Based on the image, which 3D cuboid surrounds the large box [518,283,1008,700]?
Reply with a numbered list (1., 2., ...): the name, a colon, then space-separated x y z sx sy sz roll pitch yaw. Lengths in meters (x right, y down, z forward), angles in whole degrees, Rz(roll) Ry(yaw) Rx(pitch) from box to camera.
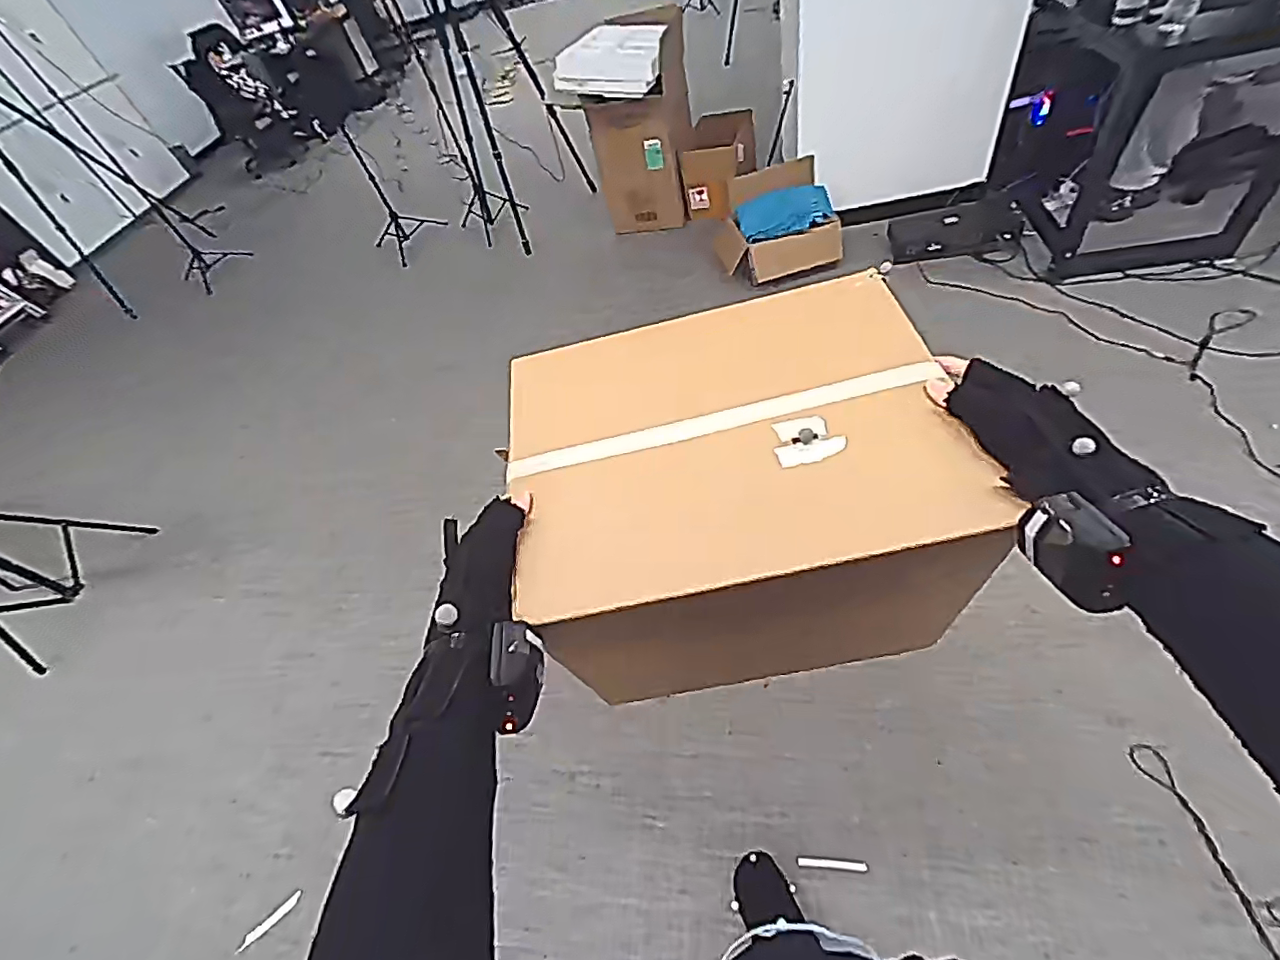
1. large box: 0.101 0.032 0.639 0.408 0.320 0.320 -13 55 4
